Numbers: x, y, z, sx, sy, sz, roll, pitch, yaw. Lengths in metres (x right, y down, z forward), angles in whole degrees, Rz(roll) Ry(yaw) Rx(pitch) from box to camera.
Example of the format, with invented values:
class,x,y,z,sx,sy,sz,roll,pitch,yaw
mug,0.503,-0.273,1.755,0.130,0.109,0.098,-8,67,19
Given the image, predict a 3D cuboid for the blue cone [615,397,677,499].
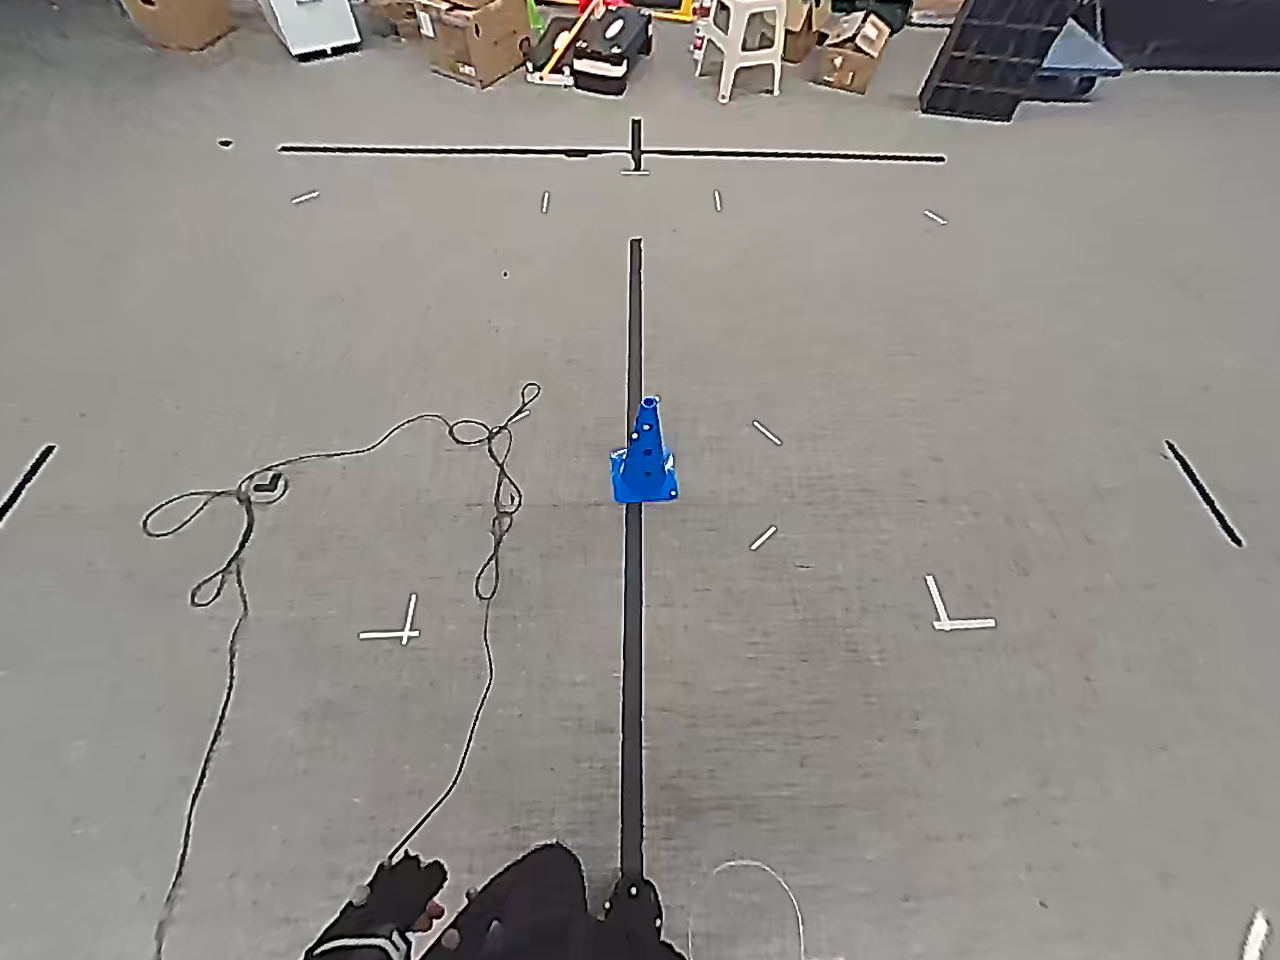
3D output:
class,x,y,z,sx,sy,sz,roll,pitch,yaw
blue cone,0.025,-0.108,1.579,0.192,0.380,0.193,-2,58,-4
